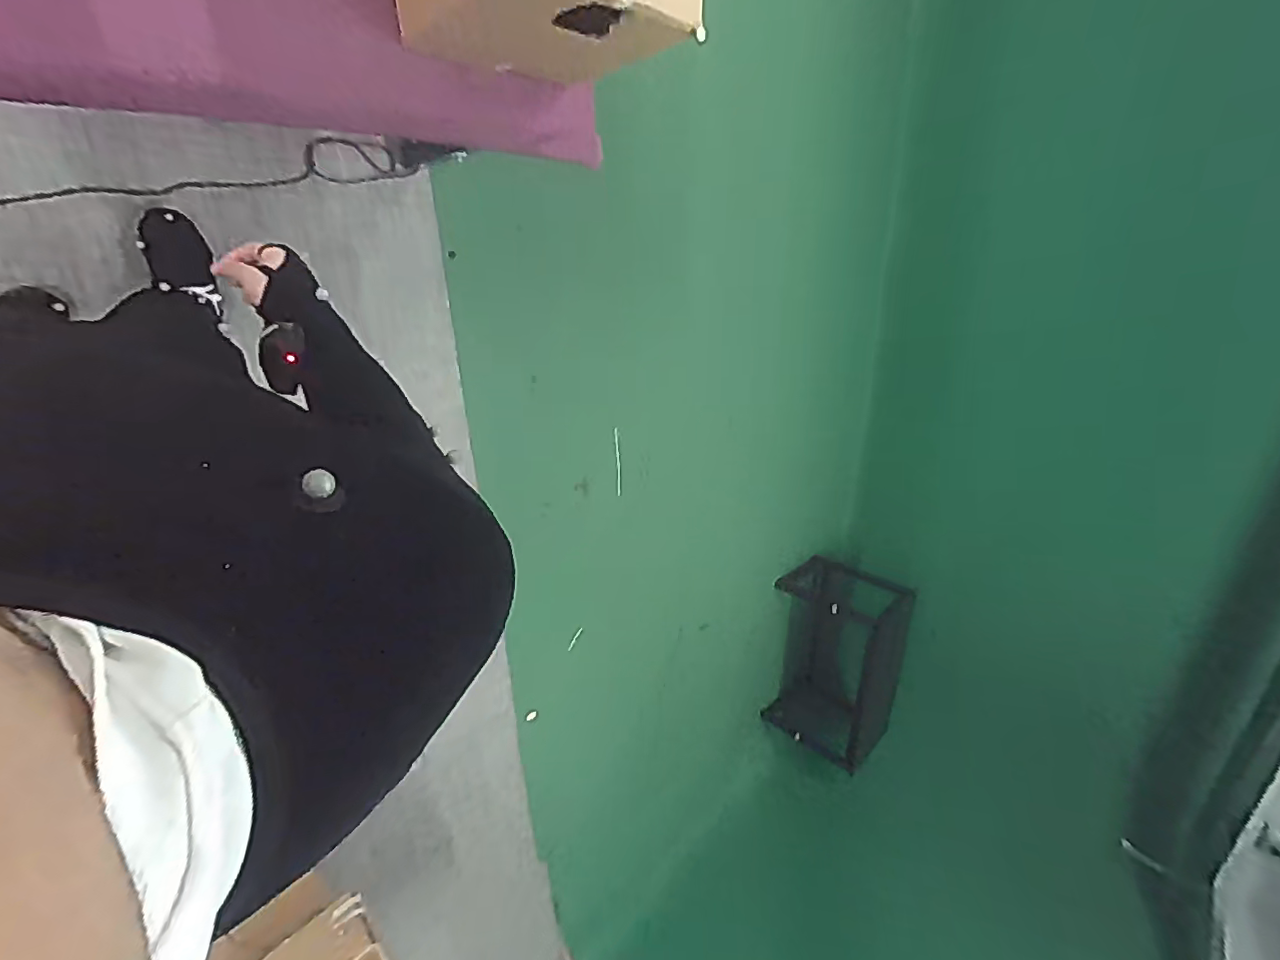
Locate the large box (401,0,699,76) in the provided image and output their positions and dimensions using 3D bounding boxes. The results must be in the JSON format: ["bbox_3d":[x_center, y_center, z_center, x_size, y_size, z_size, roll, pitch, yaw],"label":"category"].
[{"bbox_3d":[-0.135,-0.824,0.704,0.320,0.320,0.408,-22,121,-39],"label":"large box"}]
